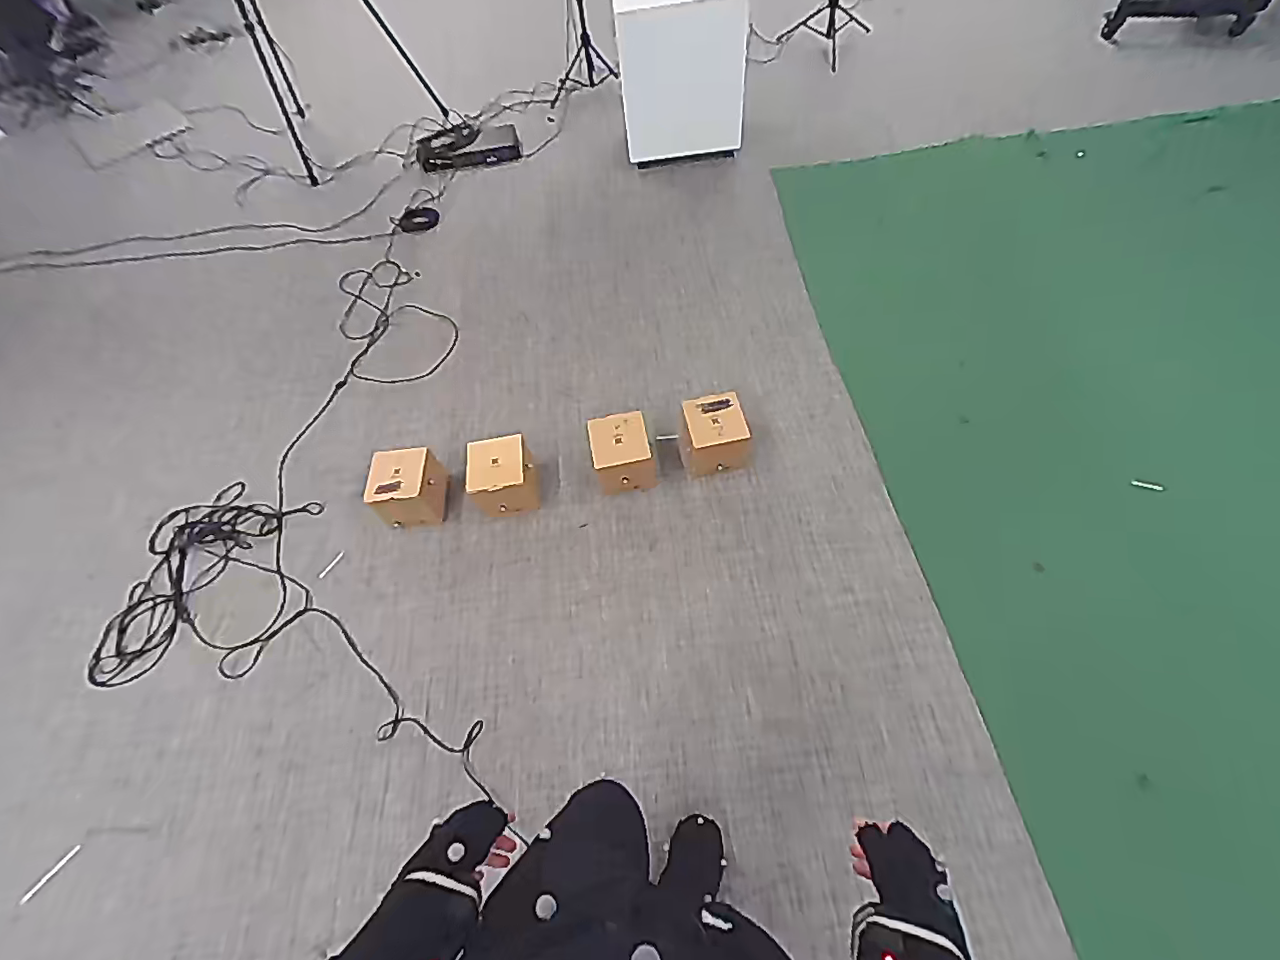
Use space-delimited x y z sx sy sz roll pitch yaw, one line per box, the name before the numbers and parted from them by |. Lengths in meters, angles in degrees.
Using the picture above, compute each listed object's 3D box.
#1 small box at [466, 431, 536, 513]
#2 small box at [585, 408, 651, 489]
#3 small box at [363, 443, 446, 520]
small box | -0.416 -0.021 1.633 0.168 0.176 0.179 -10 60 0
small box | -0.063 -0.088 1.635 0.168 0.176 0.179 -11 60 -2
small box | -0.705 0.012 1.642 0.168 0.176 0.179 -6 58 2
